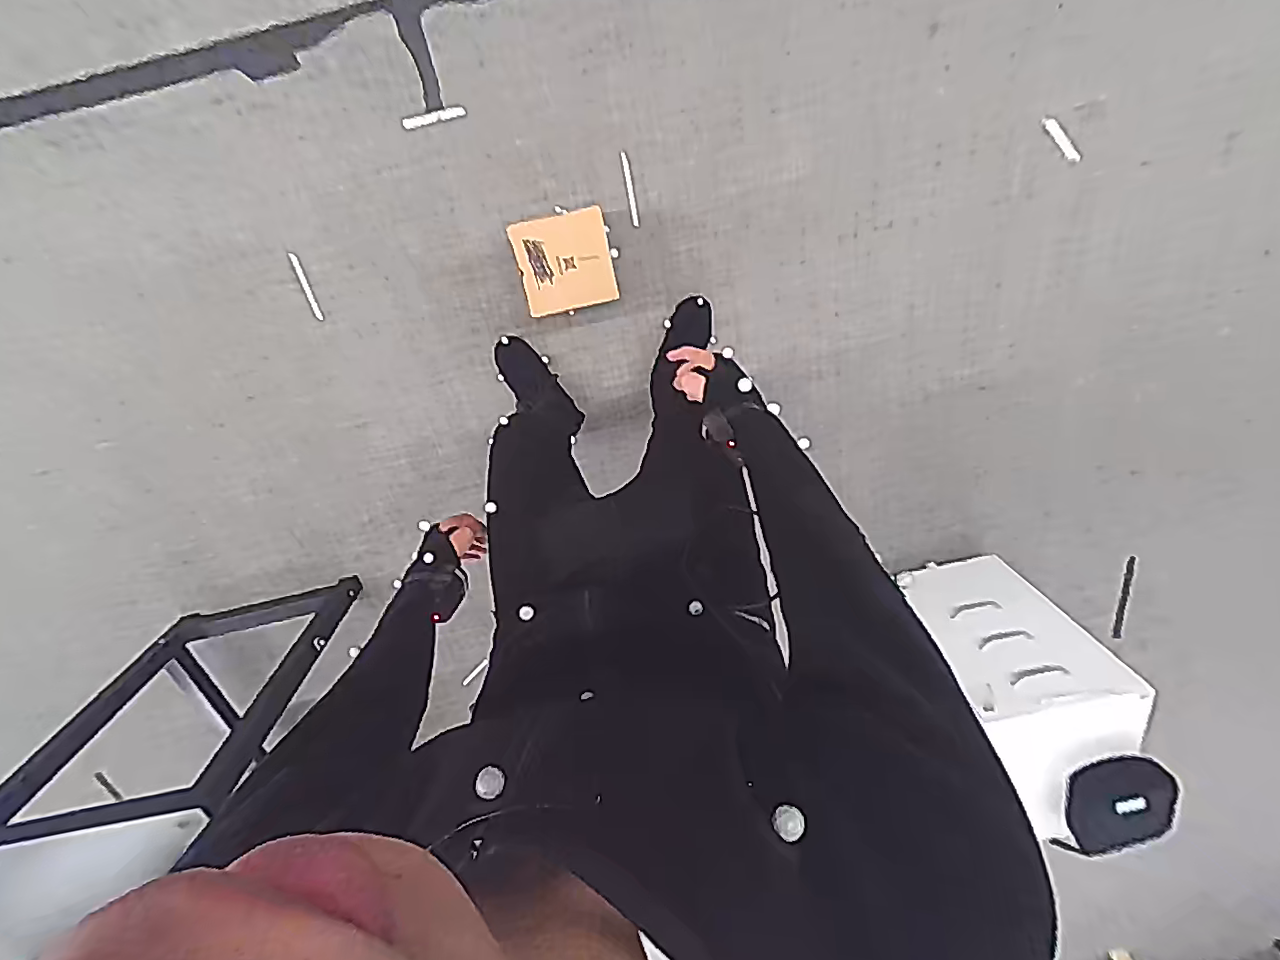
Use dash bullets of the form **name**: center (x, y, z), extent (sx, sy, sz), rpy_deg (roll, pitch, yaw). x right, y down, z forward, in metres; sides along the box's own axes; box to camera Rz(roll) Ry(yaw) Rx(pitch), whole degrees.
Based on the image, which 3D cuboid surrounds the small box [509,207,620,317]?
- **small box**: center (-0.141, -0.430, 1.068), extent (0.179, 0.176, 0.168), rpy_deg (-12, 115, 0)
